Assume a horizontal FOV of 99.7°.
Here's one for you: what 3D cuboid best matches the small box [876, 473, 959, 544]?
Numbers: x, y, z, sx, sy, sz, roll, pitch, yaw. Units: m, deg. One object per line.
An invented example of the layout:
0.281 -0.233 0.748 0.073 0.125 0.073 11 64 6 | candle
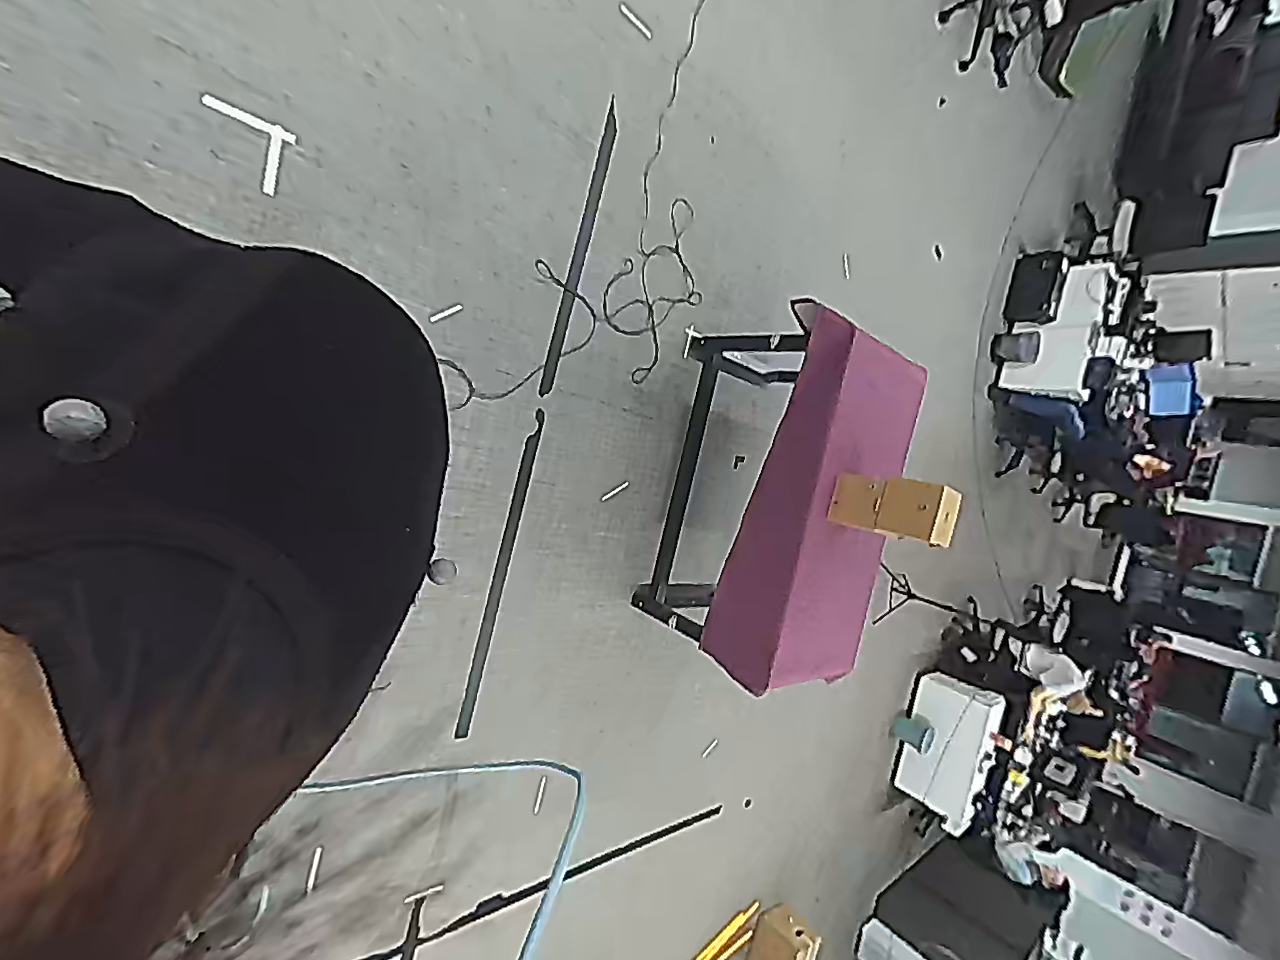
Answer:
0.860 0.086 1.680 0.168 0.176 0.179 15 90 -42 | small box
